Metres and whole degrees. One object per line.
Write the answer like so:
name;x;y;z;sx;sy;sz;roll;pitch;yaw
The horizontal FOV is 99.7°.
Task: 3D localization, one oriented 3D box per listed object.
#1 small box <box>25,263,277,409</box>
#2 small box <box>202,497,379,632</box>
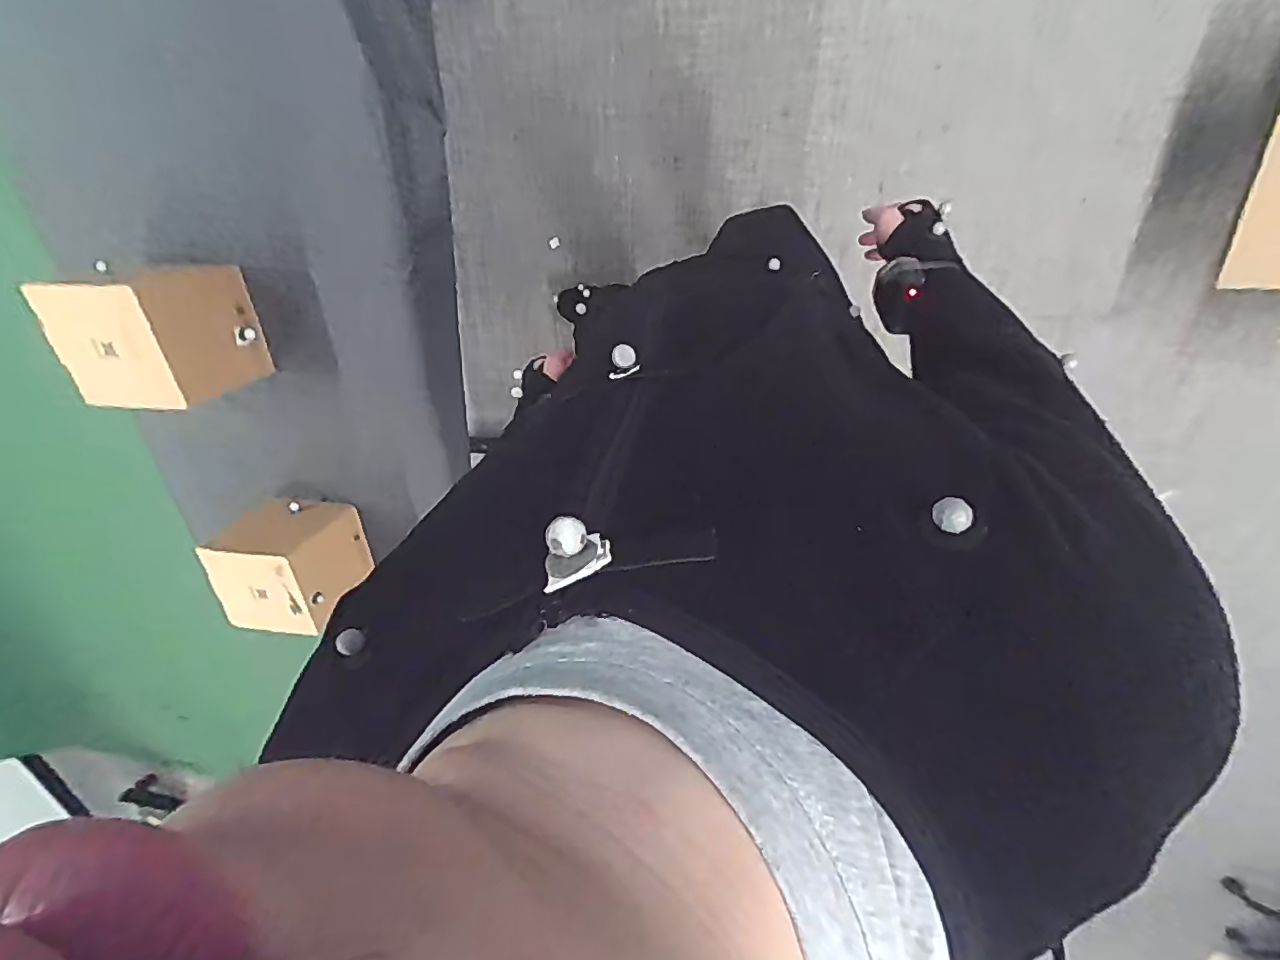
small box;-0.683;-0.213;0.781;0.179;0.176;0.168;2;121;9
small box;-0.609;0.143;0.967;0.179;0.176;0.168;4;121;11
